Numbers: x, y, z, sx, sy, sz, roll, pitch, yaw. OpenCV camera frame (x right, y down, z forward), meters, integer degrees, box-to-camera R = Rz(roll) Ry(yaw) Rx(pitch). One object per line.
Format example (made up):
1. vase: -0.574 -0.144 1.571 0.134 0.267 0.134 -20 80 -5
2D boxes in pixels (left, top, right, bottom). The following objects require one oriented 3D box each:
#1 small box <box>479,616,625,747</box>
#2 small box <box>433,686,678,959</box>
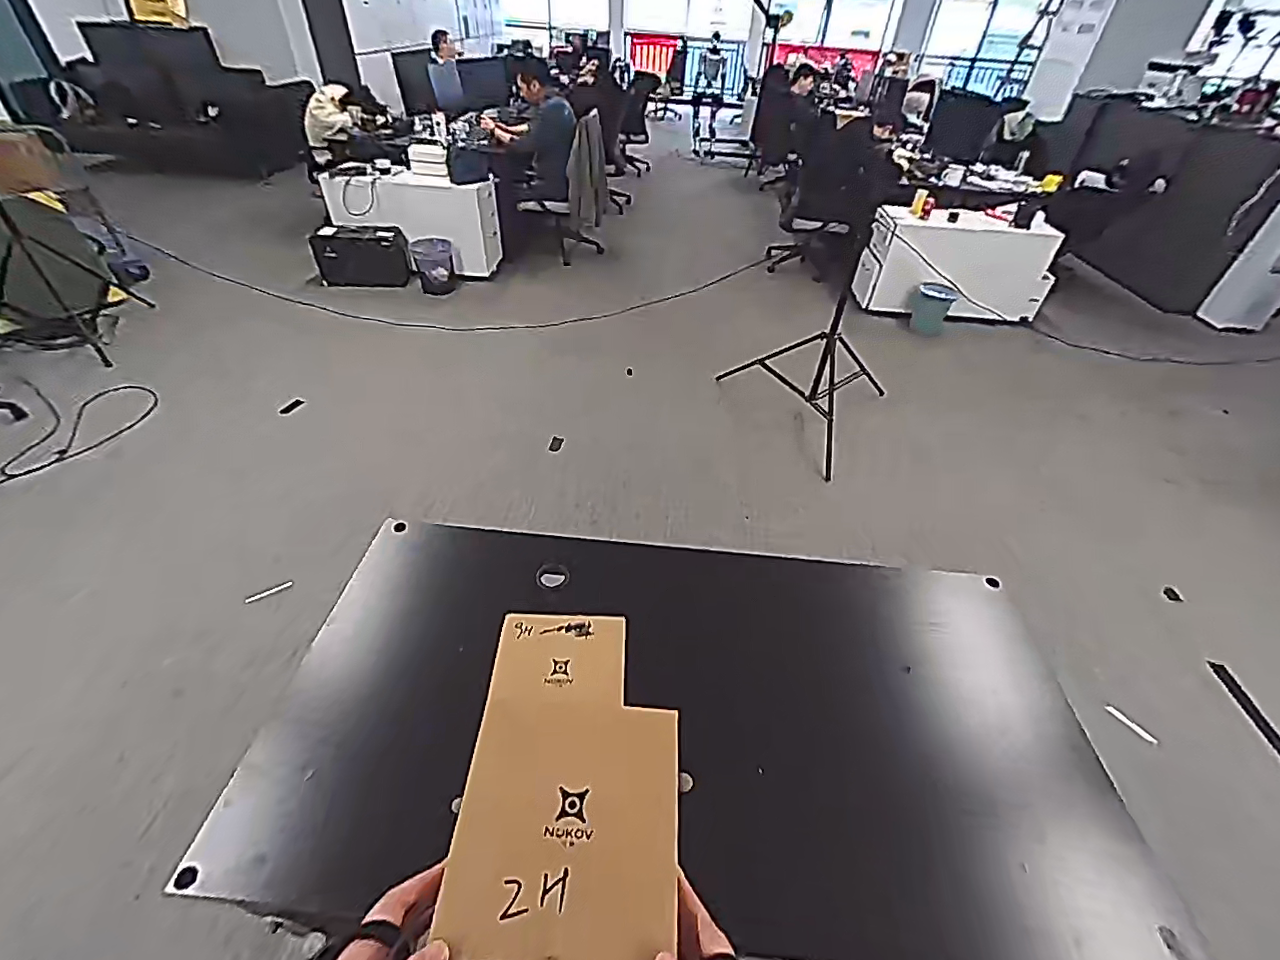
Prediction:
1. small box: -0.105 0.307 0.733 0.168 0.176 0.179 2 41 -2
2. small box: -0.059 0.305 0.470 0.168 0.176 0.179 5 45 -1
